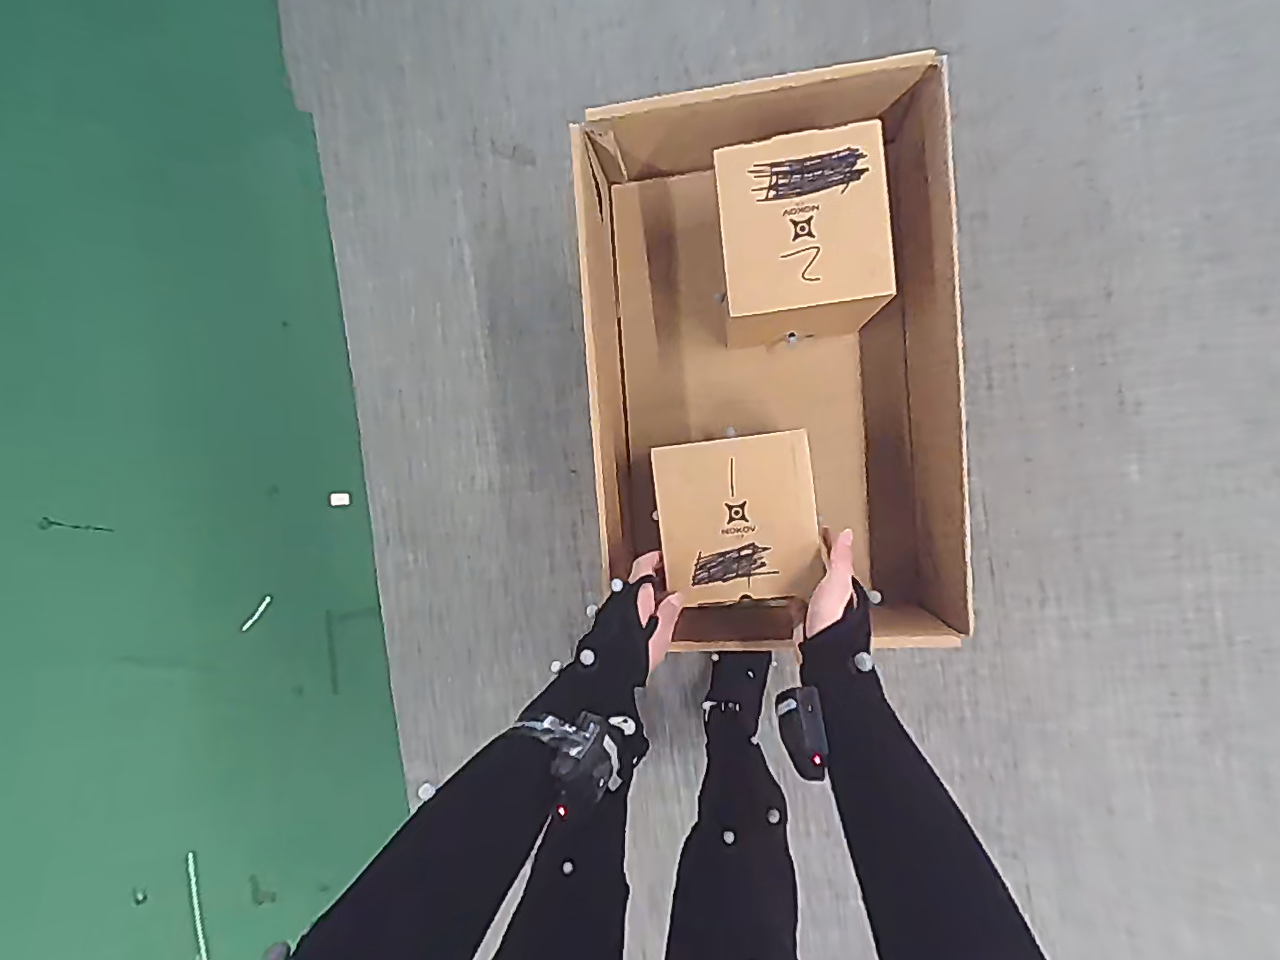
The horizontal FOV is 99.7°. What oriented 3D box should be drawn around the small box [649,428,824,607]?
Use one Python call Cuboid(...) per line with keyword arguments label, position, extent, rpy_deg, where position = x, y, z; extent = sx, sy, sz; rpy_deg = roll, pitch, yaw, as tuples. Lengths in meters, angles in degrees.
Cuboid(label="small box", position=(0.111, 0.038, 0.637), extent=(0.168, 0.176, 0.179), rpy_deg=(-7, 90, 8))
